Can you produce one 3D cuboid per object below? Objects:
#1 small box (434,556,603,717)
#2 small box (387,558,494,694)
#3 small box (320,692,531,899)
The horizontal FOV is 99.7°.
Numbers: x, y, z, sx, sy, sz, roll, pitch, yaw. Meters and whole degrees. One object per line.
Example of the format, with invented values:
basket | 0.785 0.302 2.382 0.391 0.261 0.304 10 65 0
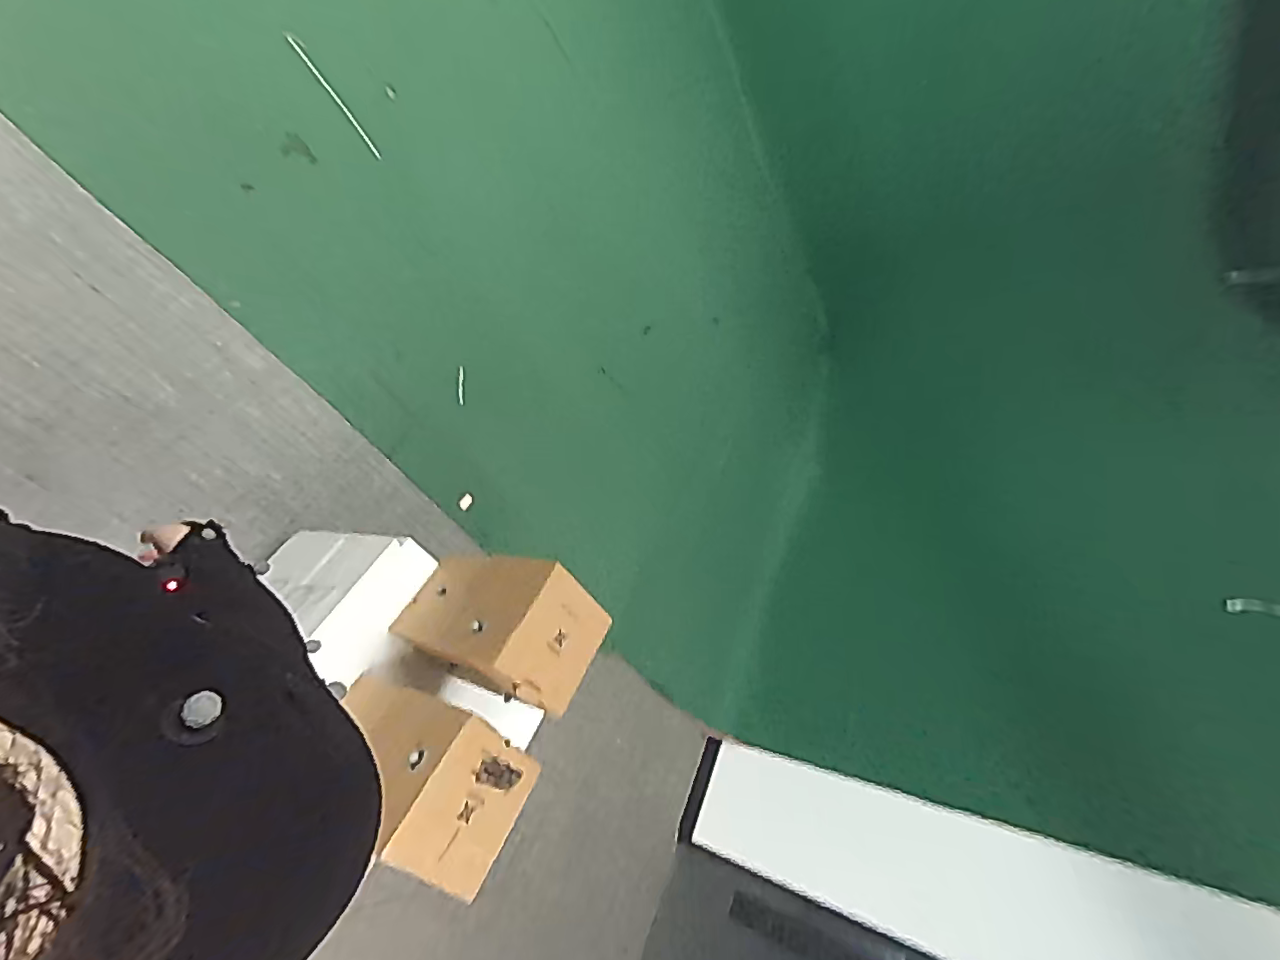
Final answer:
small box | -0.198 0.242 0.867 0.168 0.176 0.179 56 49 -35
small box | -0.315 0.255 0.979 0.179 0.176 0.168 56 51 -33
small box | -0.292 0.419 0.743 0.168 0.176 0.179 58 47 -32
